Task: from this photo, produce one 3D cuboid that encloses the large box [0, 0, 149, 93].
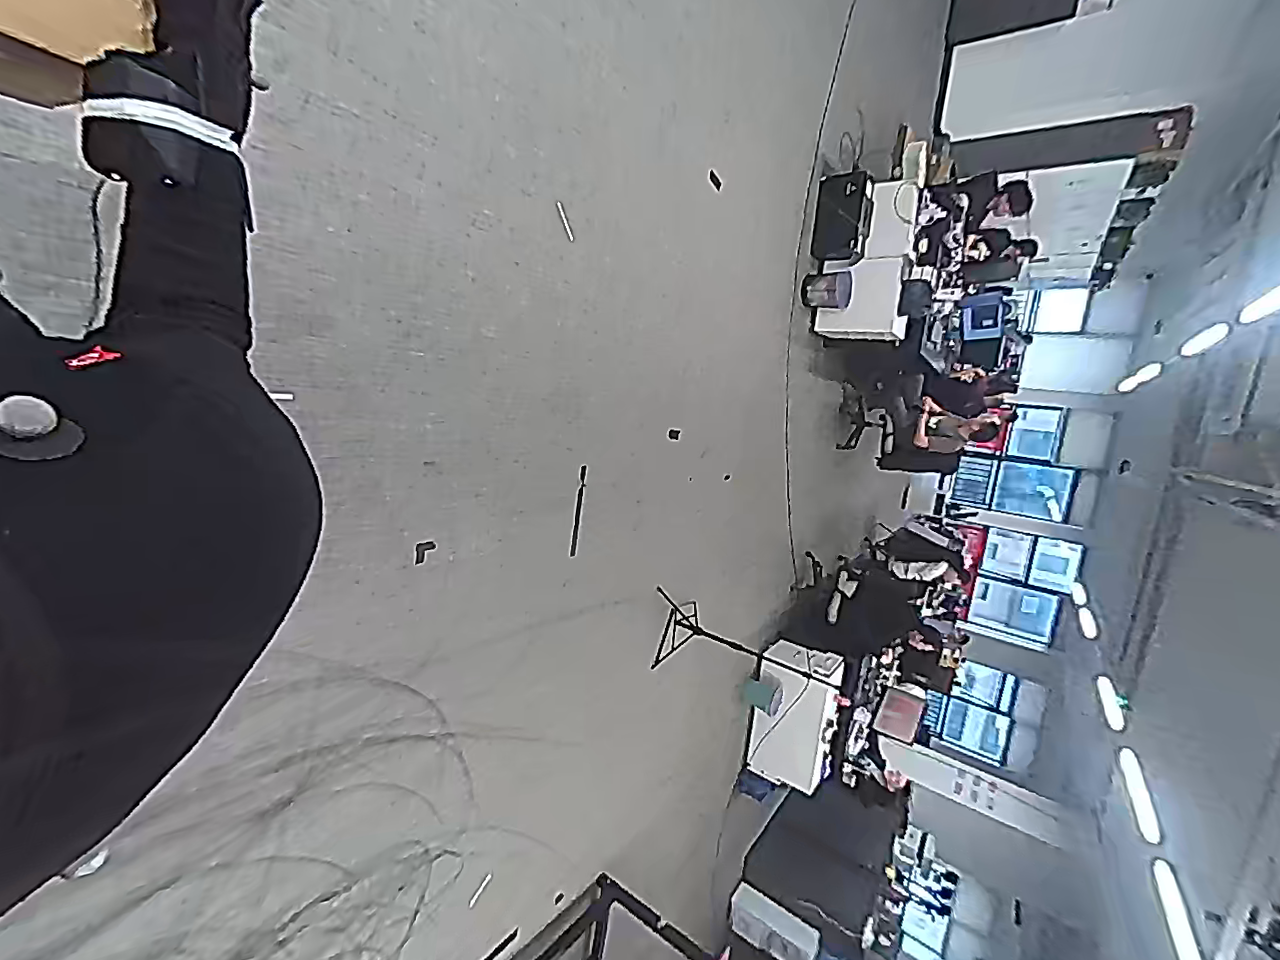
[{"bbox_3d":[-0.542,-0.452,0.251,0.408,0.320,0.320,-8,116,-56],"label":"large box"}]
